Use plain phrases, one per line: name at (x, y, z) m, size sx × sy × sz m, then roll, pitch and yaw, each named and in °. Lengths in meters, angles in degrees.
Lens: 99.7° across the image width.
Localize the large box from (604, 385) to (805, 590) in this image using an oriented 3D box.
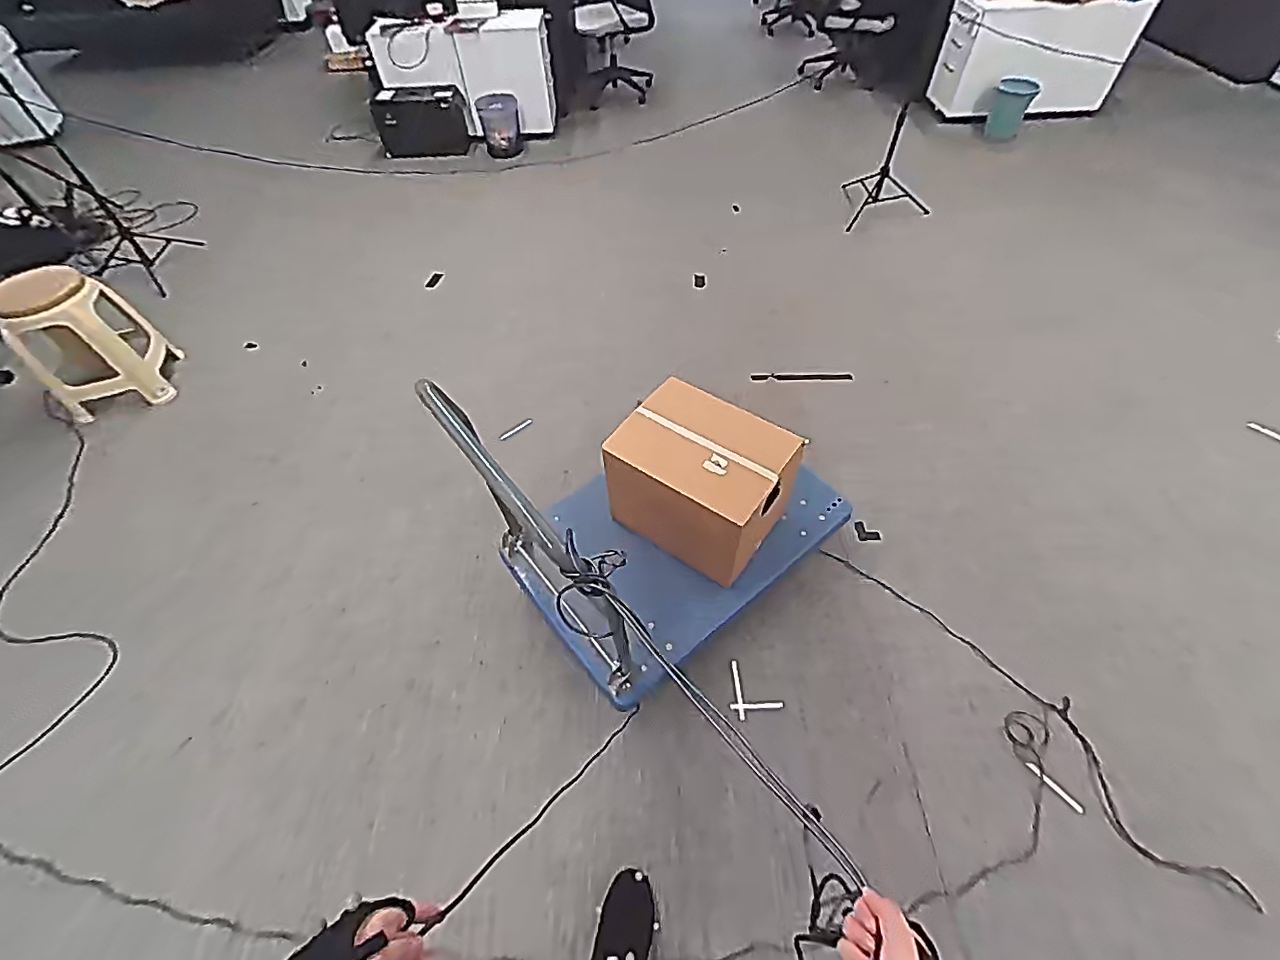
large box at (0.158, 0.017, 1.441) m, size 0.408 × 0.320 × 0.320 m, roll 30°, pitch 60°, yaw 22°
